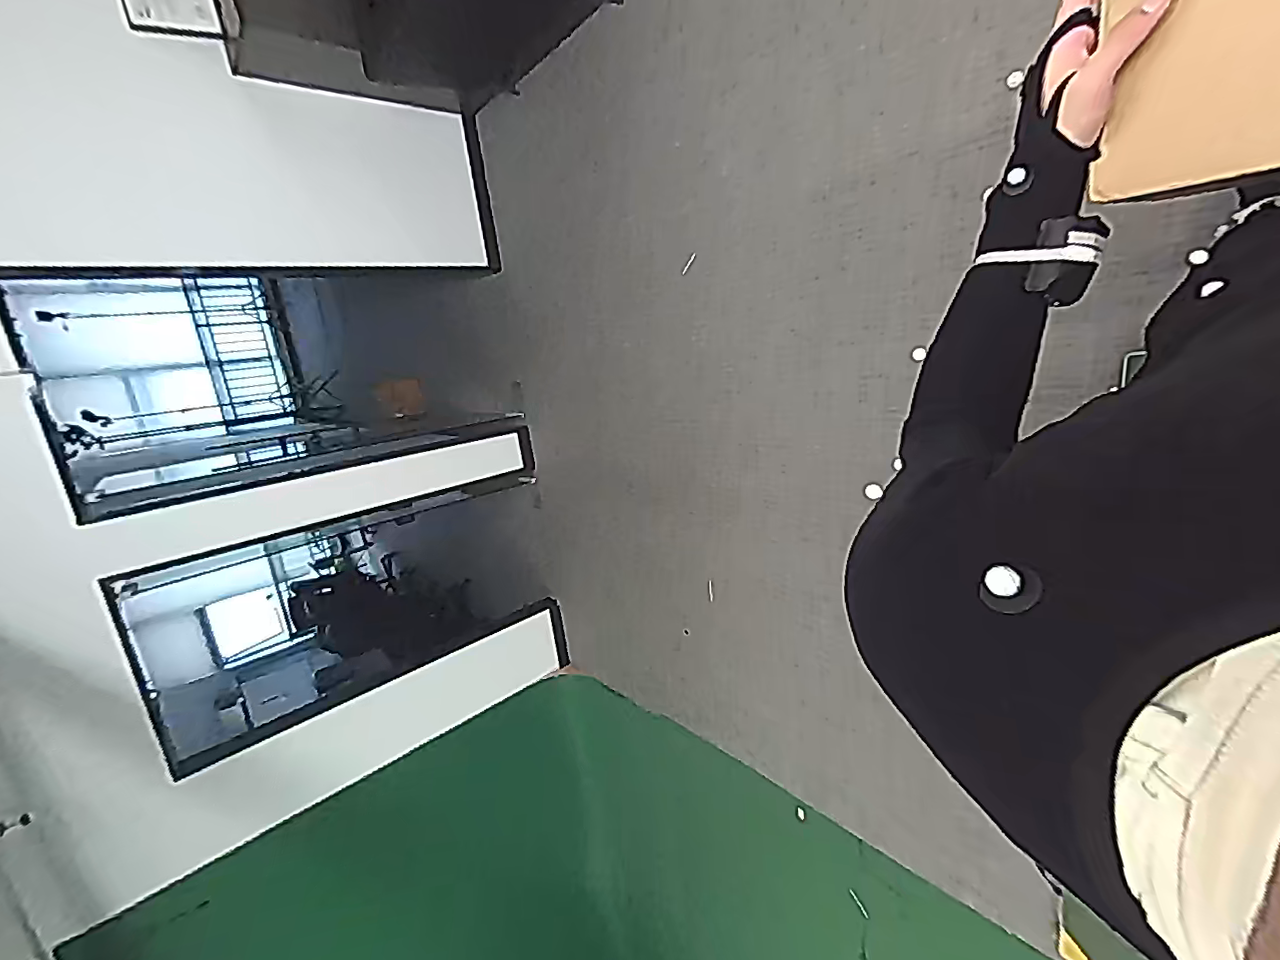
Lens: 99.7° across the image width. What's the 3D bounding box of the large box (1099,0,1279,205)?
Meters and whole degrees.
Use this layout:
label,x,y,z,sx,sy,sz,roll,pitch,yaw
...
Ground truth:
label,x,y,z,sx,sy,sz,roll,pitch,yaw
large box,0.599,-0.404,0.360,0.408,0.320,0.320,10,115,48
